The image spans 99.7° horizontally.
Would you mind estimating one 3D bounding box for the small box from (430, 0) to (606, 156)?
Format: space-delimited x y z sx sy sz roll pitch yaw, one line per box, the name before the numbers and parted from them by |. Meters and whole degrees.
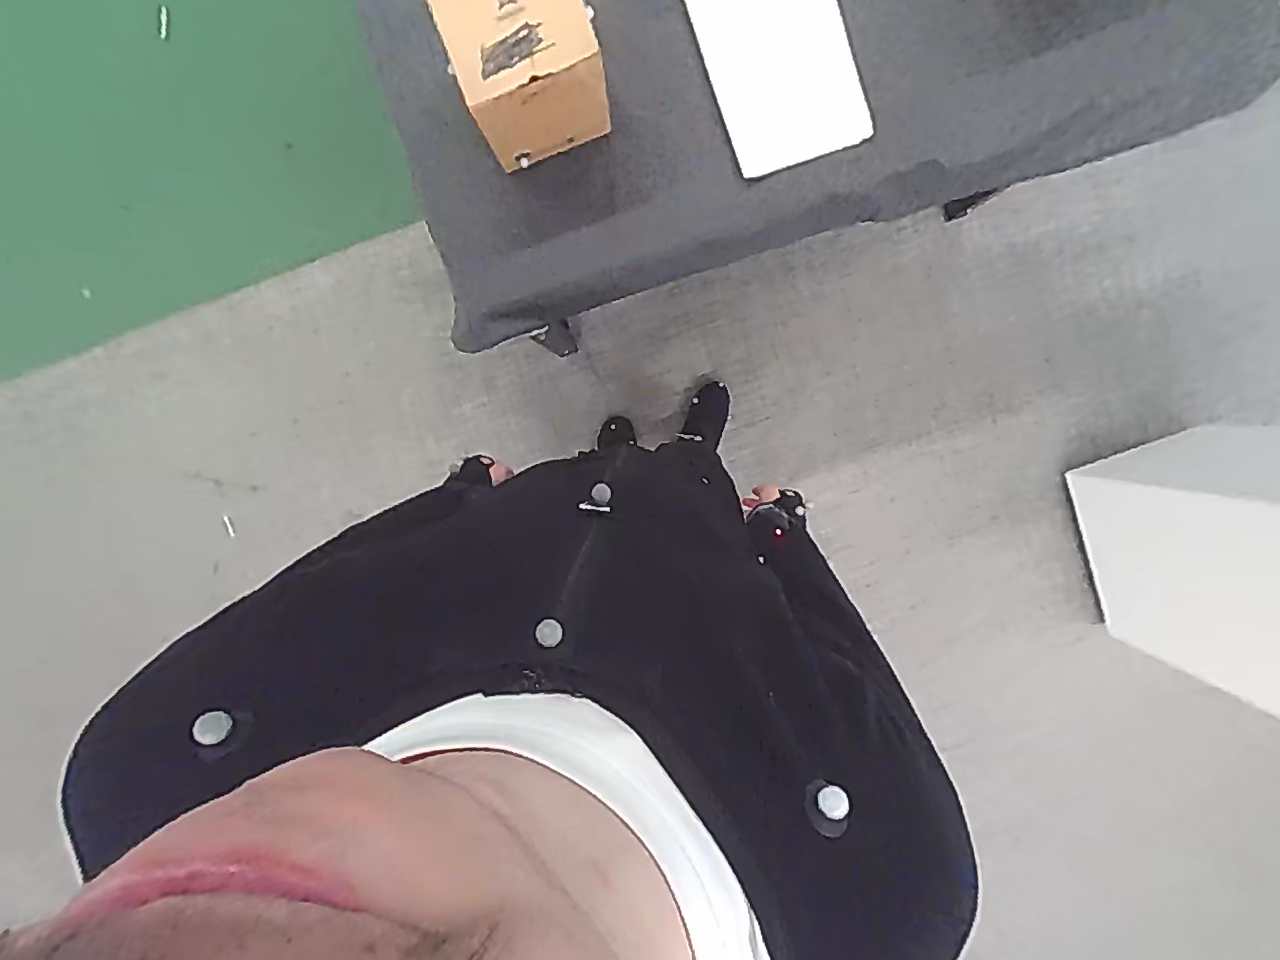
small box | -0.149 -0.547 0.686 0.168 0.176 0.179 -20 97 2
